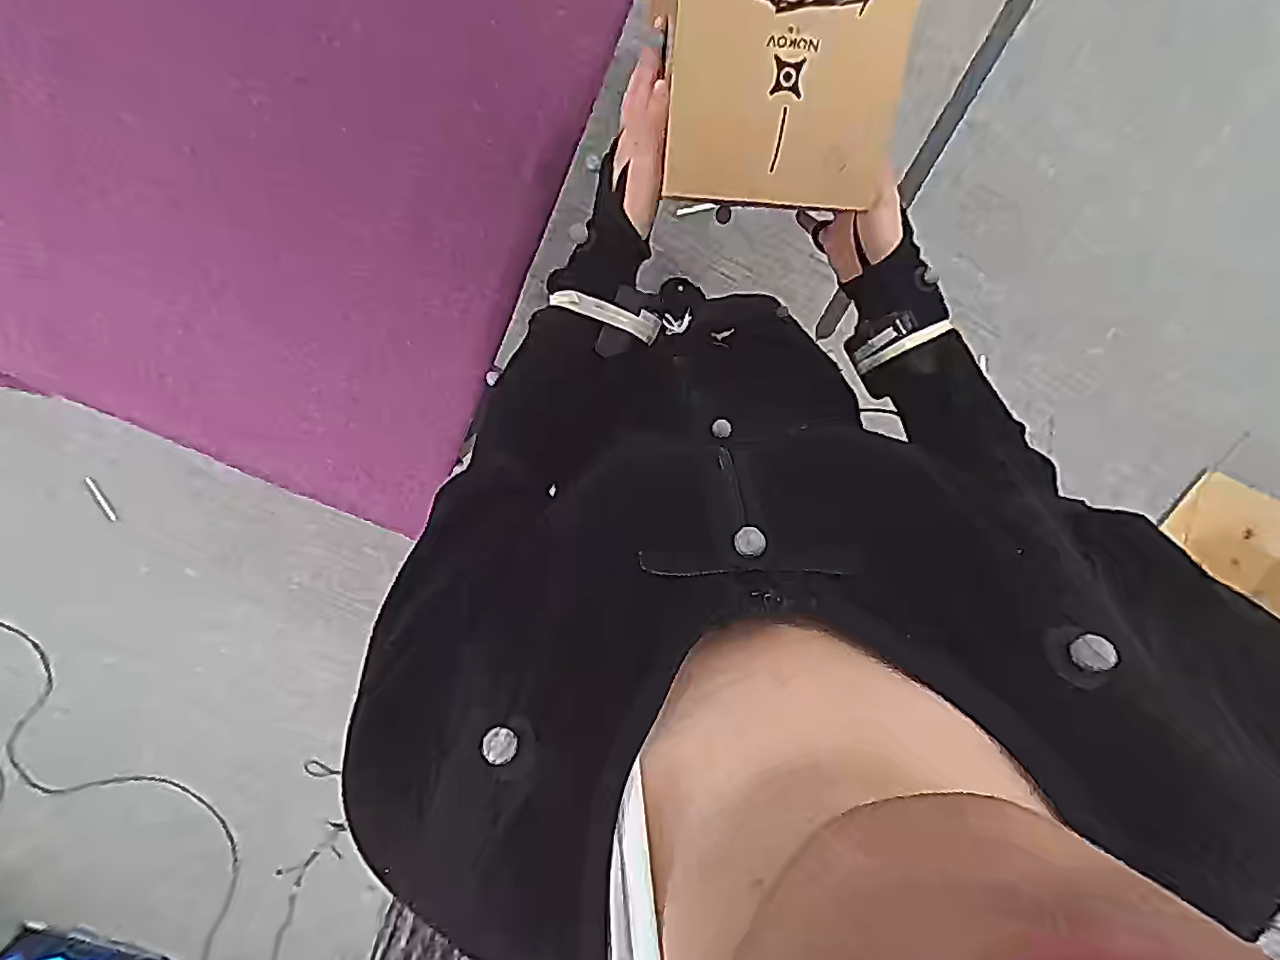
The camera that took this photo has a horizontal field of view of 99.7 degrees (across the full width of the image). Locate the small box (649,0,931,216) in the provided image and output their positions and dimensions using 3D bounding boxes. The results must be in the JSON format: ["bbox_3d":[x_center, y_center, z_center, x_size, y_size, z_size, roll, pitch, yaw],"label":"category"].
[{"bbox_3d":[0.100,-0.317,0.437,0.168,0.176,0.179,1,117,-6],"label":"small box"}]

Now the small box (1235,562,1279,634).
[{"bbox_3d":[1.723,0.333,1.383,0.179,0.176,0.168,19,109,-7],"label":"small box"}]

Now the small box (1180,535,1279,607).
[{"bbox_3d":[1.721,0.276,1.537,0.179,0.176,0.168,21,109,-7],"label":"small box"}]
